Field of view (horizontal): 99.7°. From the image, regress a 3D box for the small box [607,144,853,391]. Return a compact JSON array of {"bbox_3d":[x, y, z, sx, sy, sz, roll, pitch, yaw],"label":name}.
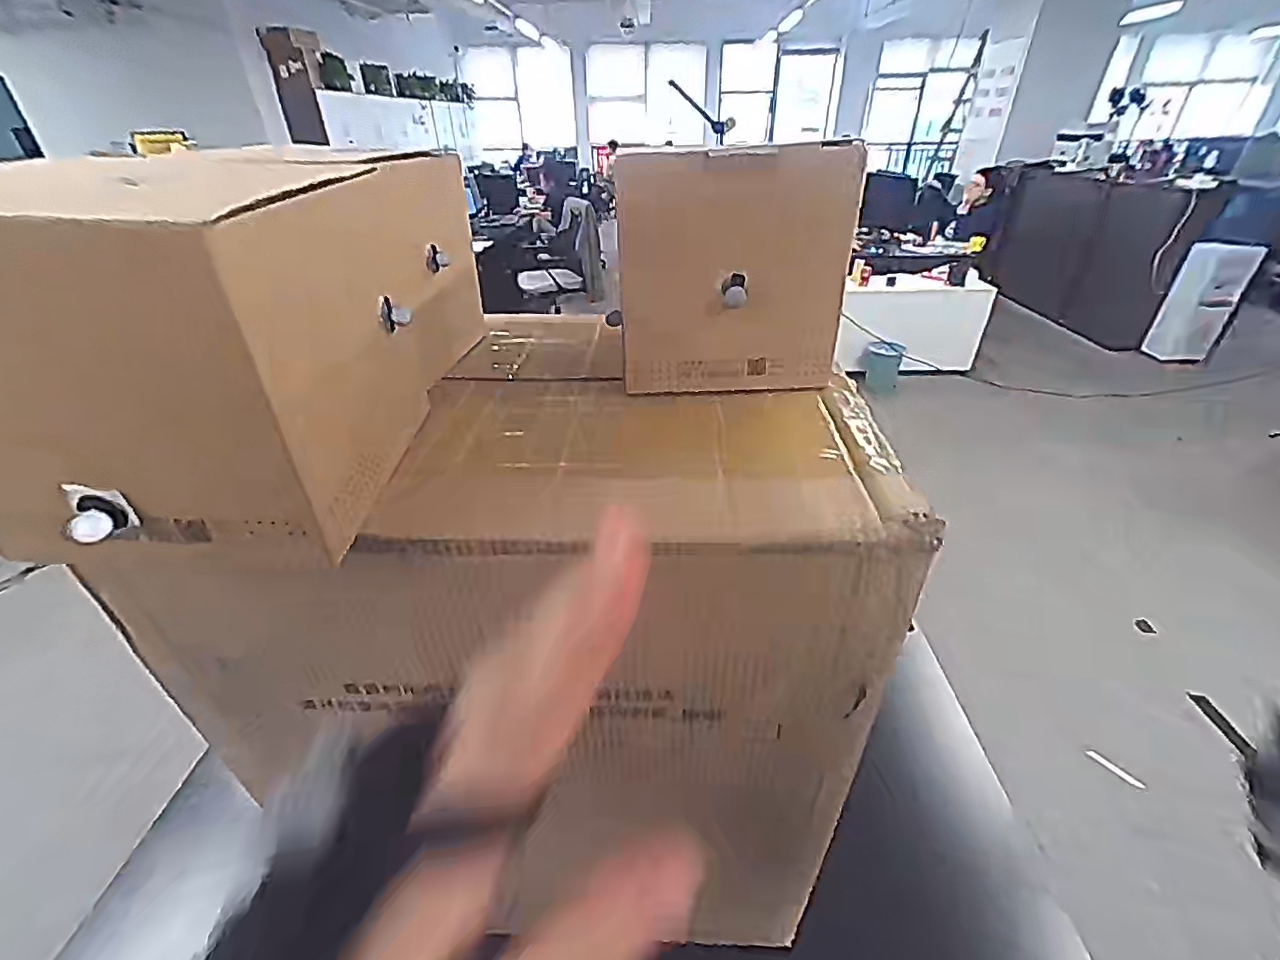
[{"bbox_3d":[0.064,-0.182,0.464,0.168,0.176,0.179,-3,32,1],"label":"small box"}]
